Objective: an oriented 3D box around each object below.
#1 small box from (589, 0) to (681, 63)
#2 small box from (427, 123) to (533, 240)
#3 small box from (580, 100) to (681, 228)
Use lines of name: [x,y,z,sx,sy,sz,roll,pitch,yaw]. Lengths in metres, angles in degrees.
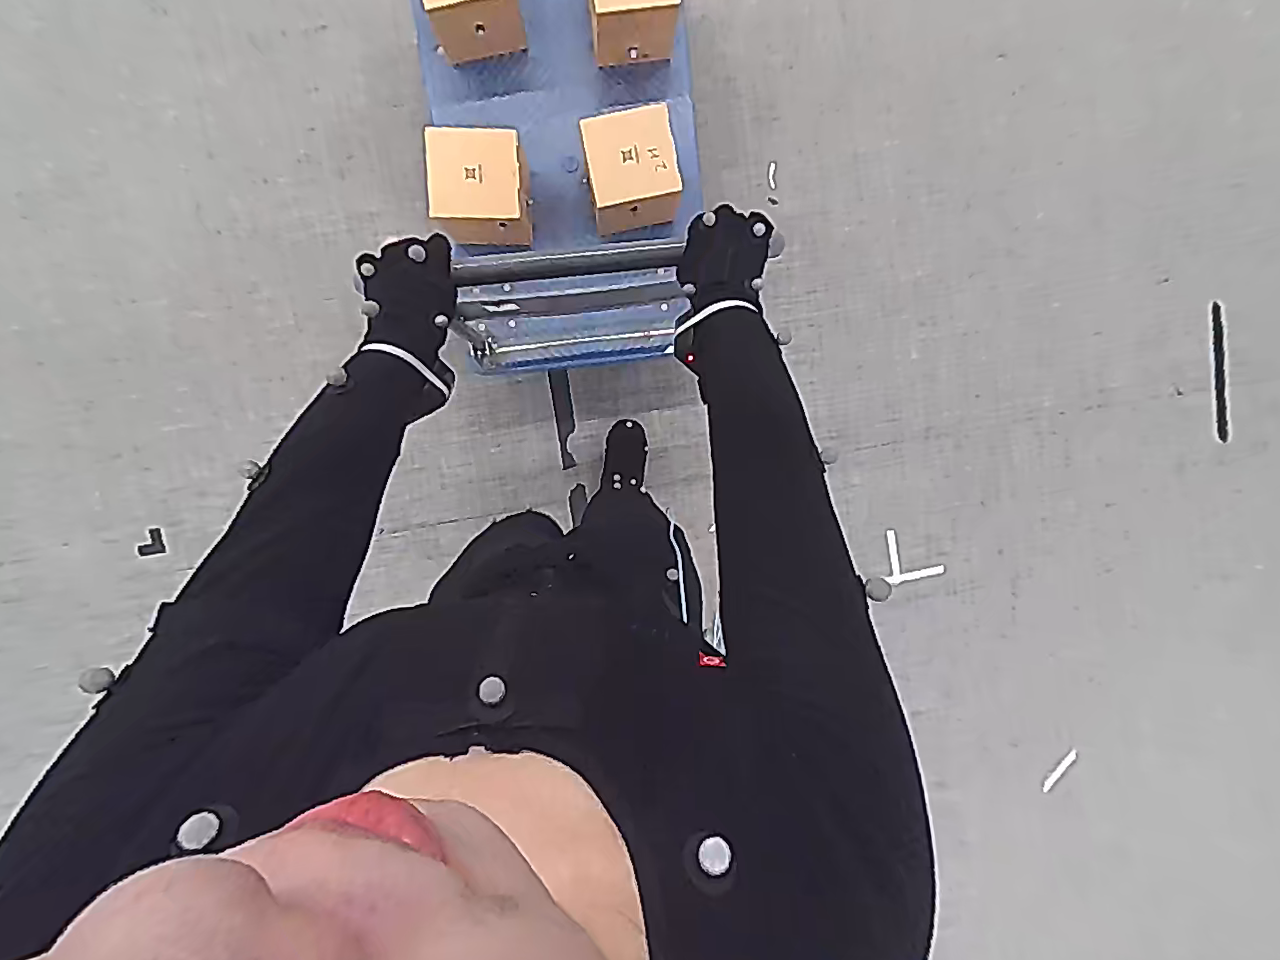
small box: [-0.018,-0.991,1.087,0.168,0.176,0.179,-8,99,-2]
small box: [-0.324,-0.609,1.123,0.179,0.176,0.168,-1,97,-4]
small box: [-0.019,-0.648,1.131,0.179,0.176,0.168,-12,98,-1]
